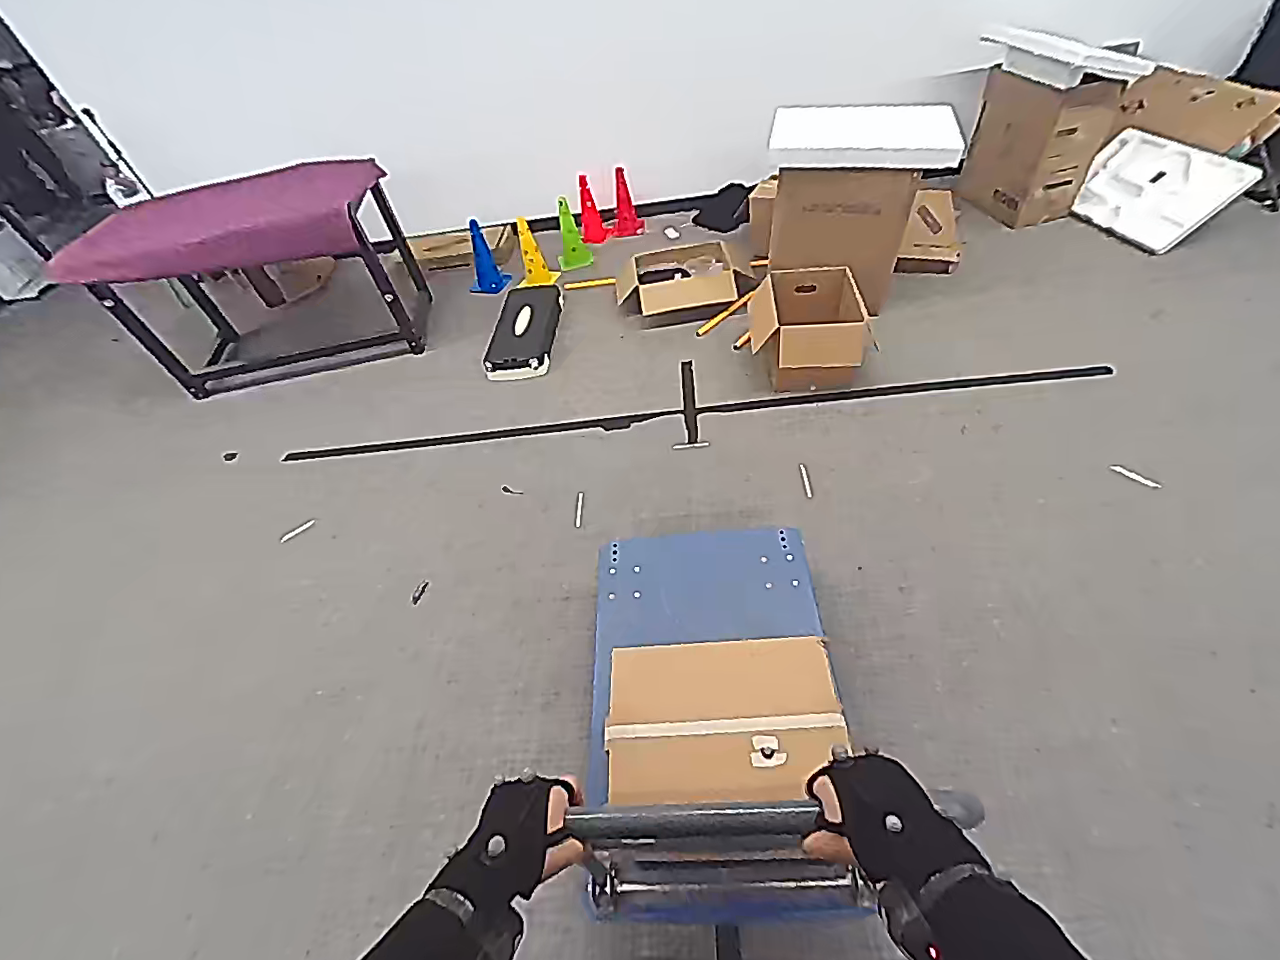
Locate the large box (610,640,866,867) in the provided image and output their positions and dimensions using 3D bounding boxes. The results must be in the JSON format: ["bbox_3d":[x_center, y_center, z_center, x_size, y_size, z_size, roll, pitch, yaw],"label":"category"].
[{"bbox_3d":[0.160,0.532,1.043,0.408,0.320,0.320,-5,49,4],"label":"large box"}]
